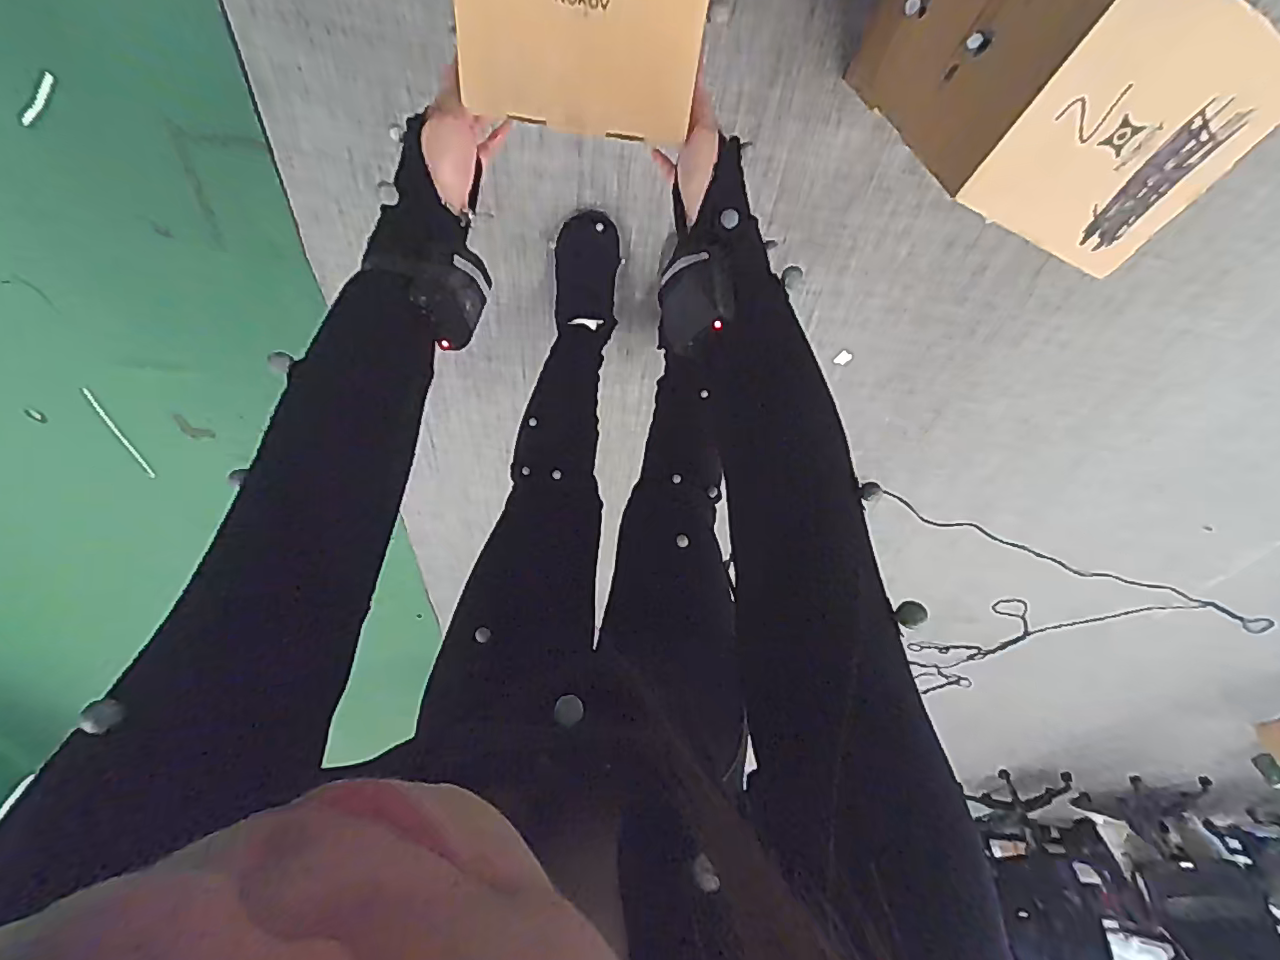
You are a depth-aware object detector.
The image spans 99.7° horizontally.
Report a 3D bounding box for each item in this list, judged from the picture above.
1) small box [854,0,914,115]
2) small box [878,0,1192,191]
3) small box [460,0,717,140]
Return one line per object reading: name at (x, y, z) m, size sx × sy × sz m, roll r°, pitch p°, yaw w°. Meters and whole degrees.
small box at (0.394, -0.553, 0.672) m, size 0.168 × 0.176 × 0.179 m, roll 13°, pitch 137°, yaw -11°
small box at (0.371, -0.443, 0.553) m, size 0.168 × 0.176 × 0.179 m, roll 16°, pitch 137°, yaw -14°
small box at (-0.031, -0.378, 0.391) m, size 0.168 × 0.176 × 0.179 m, roll 6°, pitch 134°, yaw -6°
